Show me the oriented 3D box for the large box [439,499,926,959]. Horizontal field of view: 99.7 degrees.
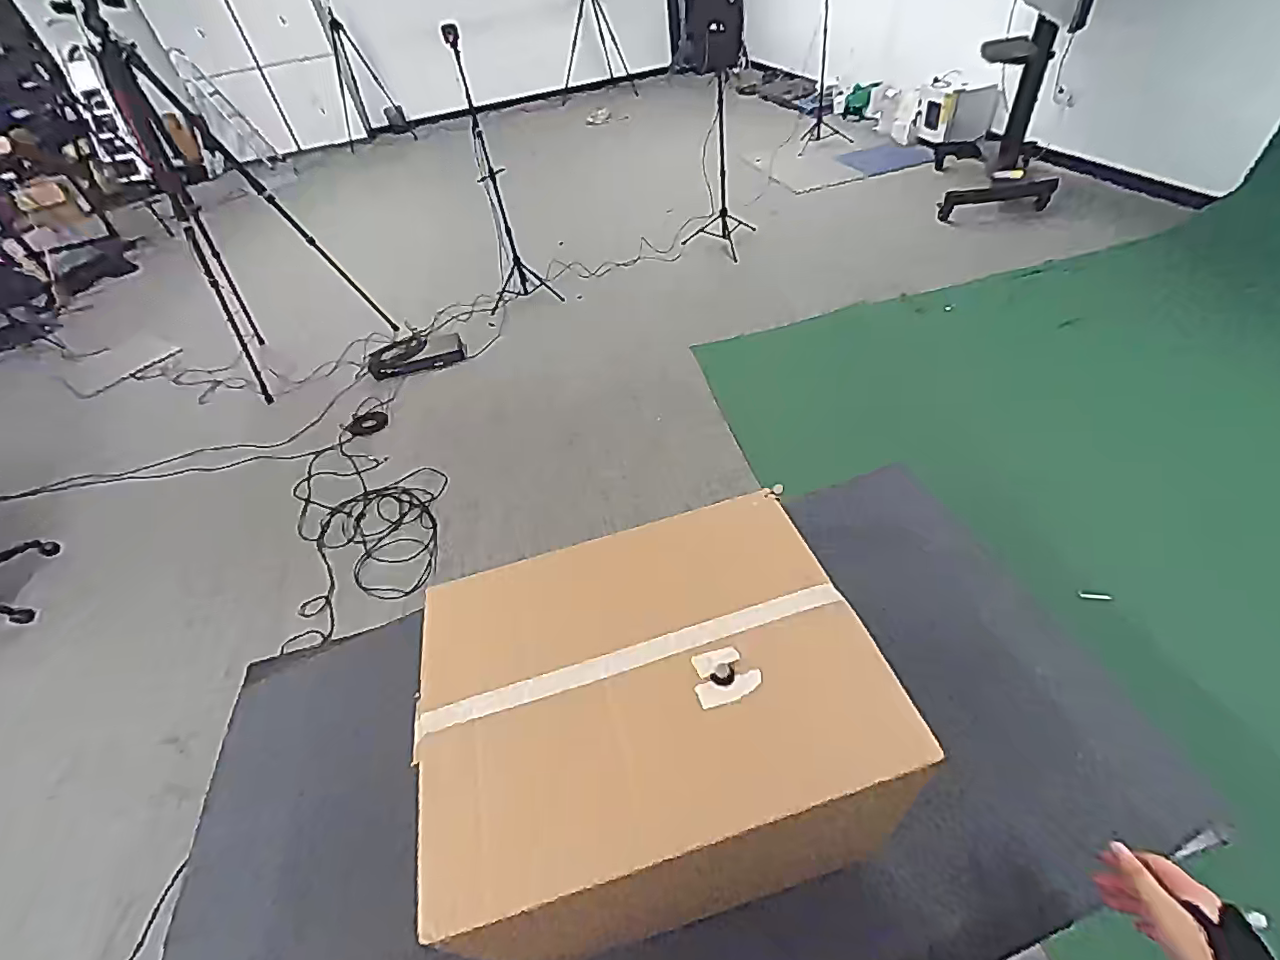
[{"bbox_3d":[0.022,0.280,0.618,0.408,0.320,0.320,-16,44,-6],"label":"large box"}]
